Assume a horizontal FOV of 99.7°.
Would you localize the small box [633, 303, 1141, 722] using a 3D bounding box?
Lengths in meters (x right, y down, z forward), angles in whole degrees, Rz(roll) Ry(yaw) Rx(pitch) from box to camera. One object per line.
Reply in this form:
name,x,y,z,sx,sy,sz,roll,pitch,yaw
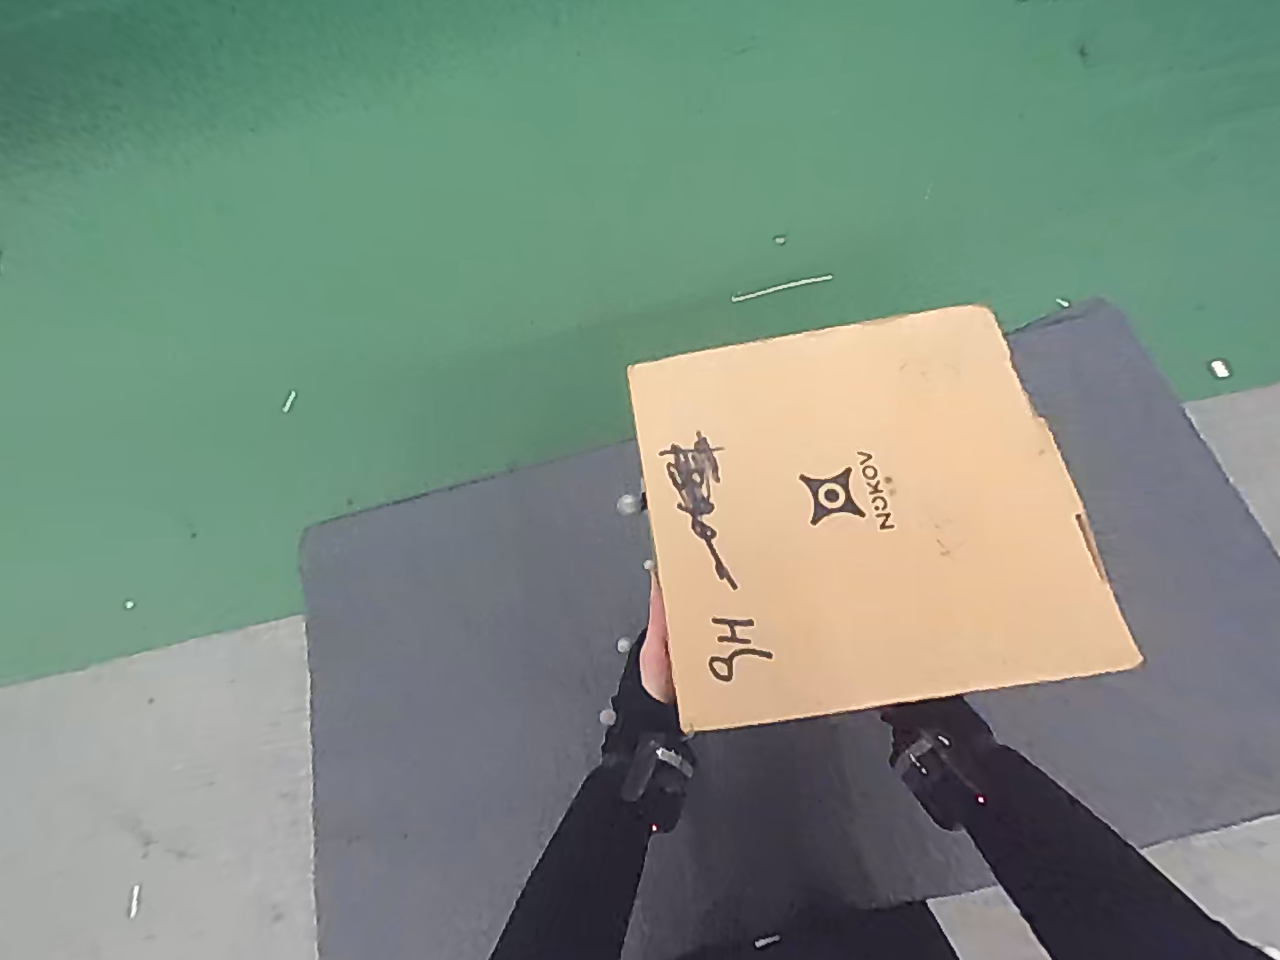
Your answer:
small box,0.095,0.031,0.301,0.179,0.176,0.168,-8,69,1
